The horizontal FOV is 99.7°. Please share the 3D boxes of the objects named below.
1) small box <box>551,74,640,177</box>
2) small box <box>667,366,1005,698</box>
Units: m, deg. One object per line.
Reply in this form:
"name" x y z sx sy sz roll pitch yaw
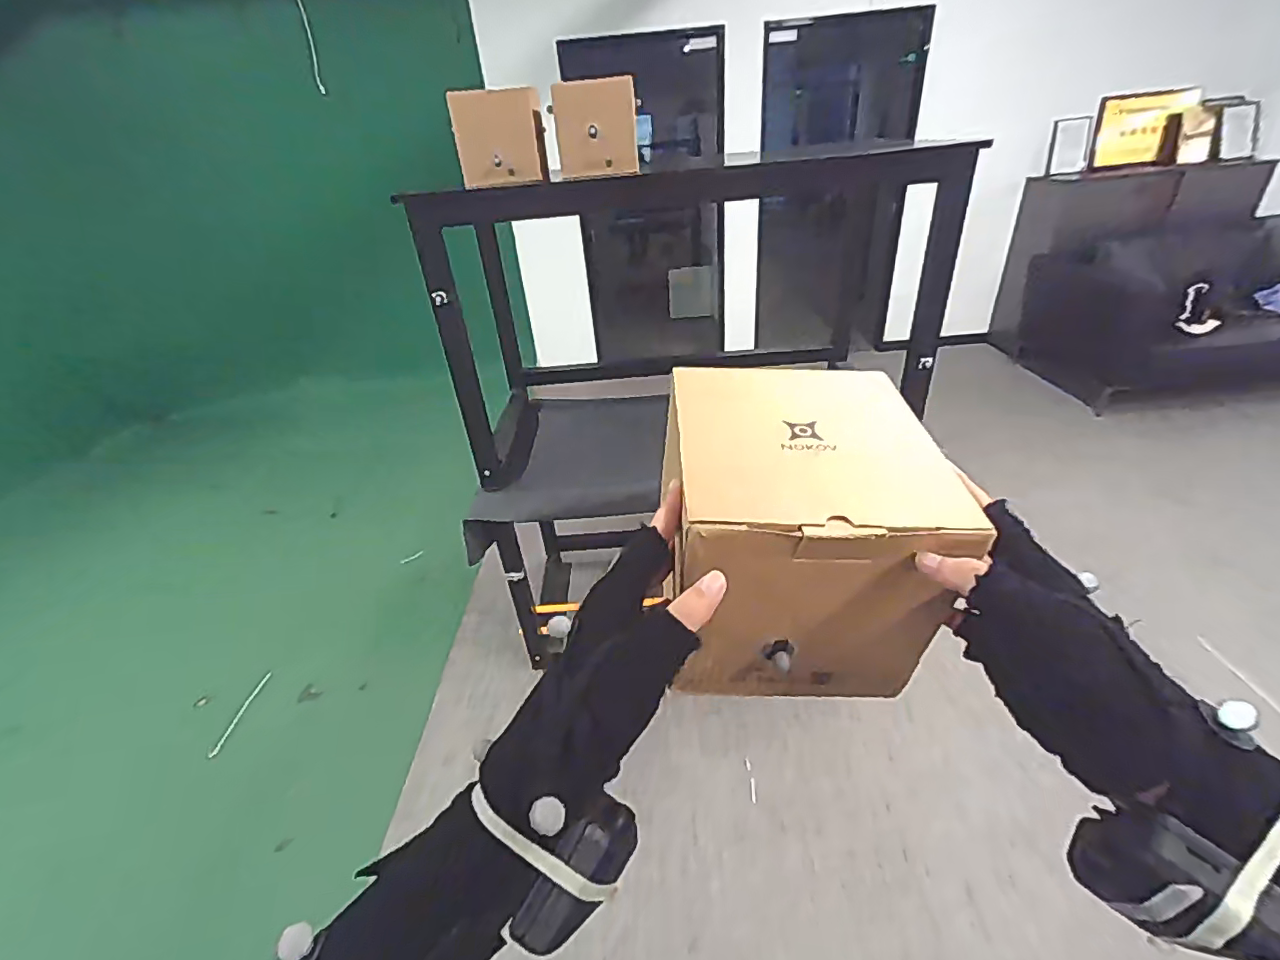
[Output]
"small box" -0.088 -0.759 1.168 0.168 0.176 0.179 -3 32 2
"small box" 0.109 0.034 0.397 0.168 0.176 0.179 1 40 -1
